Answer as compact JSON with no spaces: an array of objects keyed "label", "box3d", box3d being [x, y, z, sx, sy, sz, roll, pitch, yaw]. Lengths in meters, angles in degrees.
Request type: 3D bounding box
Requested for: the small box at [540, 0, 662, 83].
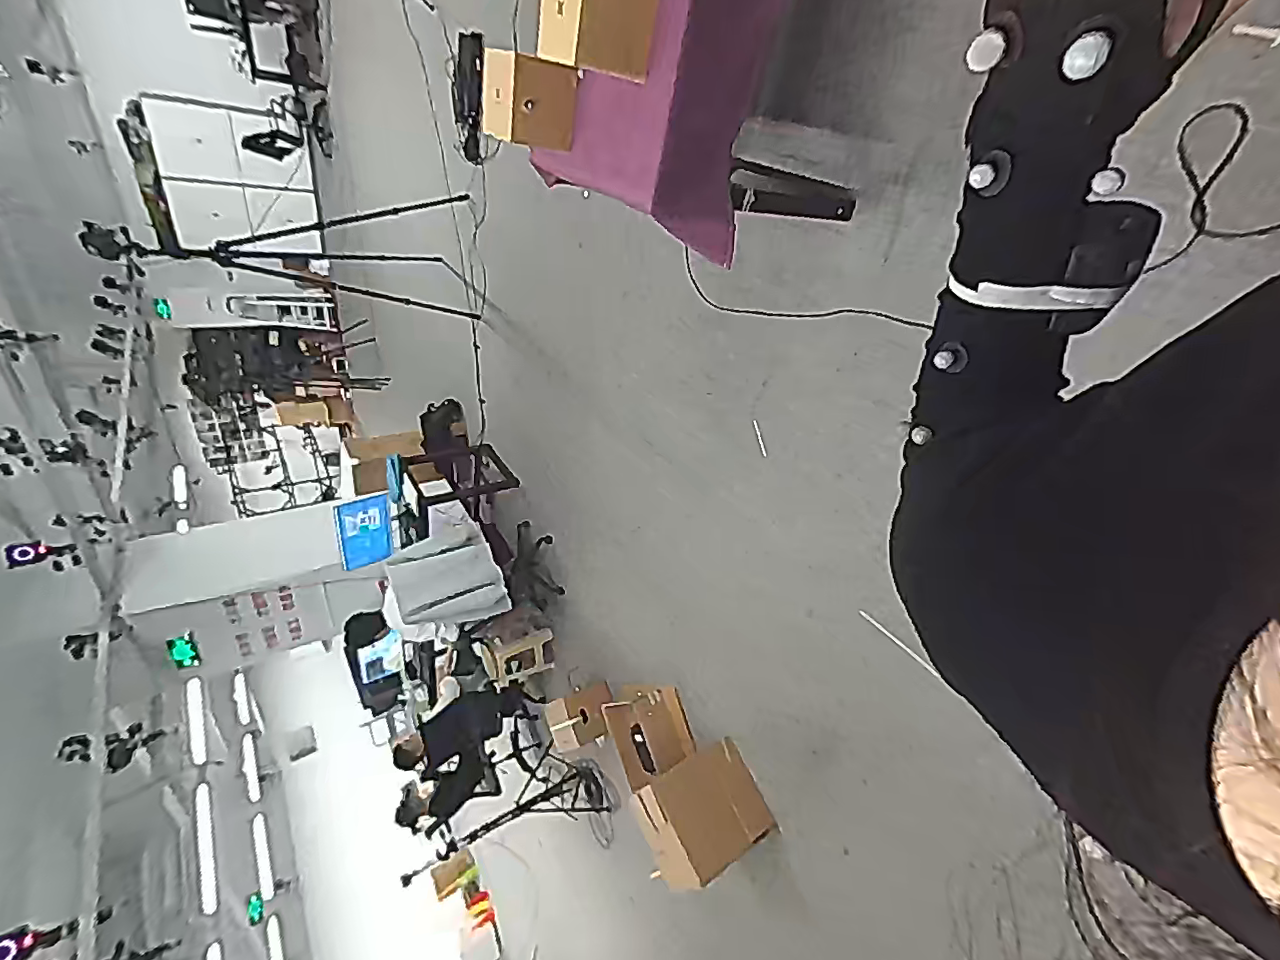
[{"label":"small box","box3d":[-0.077,-0.903,1.055,0.168,0.176,0.179,47,135,37]}]
